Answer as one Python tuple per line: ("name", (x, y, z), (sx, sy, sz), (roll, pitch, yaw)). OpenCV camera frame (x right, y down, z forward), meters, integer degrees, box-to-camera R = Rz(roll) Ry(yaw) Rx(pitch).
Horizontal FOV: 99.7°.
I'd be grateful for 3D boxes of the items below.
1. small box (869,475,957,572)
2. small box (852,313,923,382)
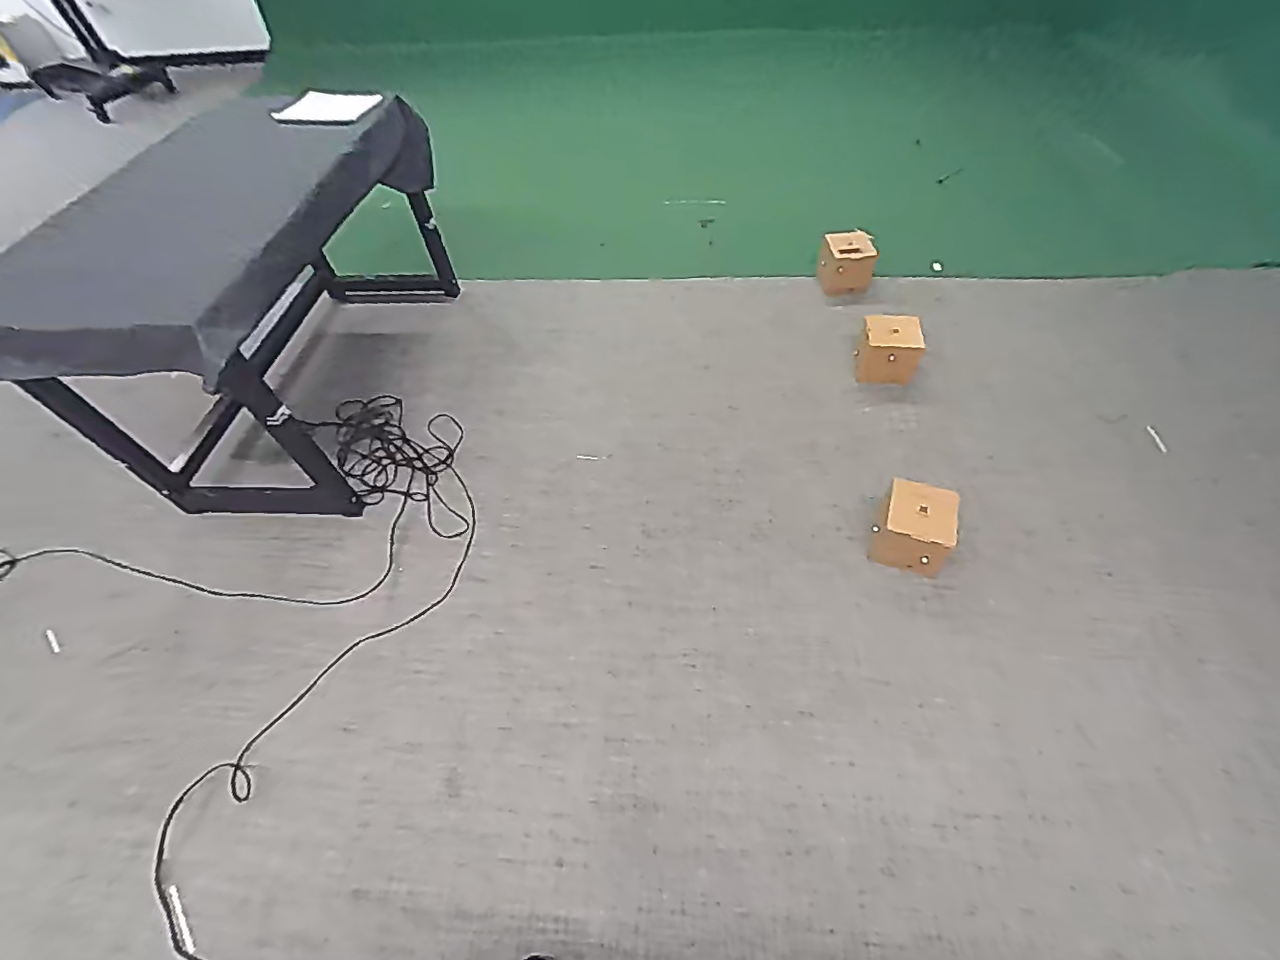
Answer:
("small box", (0.727, 0.121, 1.452), (0.168, 0.176, 0.179), (15, 55, 14))
("small box", (0.848, -0.454, 1.869), (0.179, 0.176, 0.168), (4, 54, 8))
